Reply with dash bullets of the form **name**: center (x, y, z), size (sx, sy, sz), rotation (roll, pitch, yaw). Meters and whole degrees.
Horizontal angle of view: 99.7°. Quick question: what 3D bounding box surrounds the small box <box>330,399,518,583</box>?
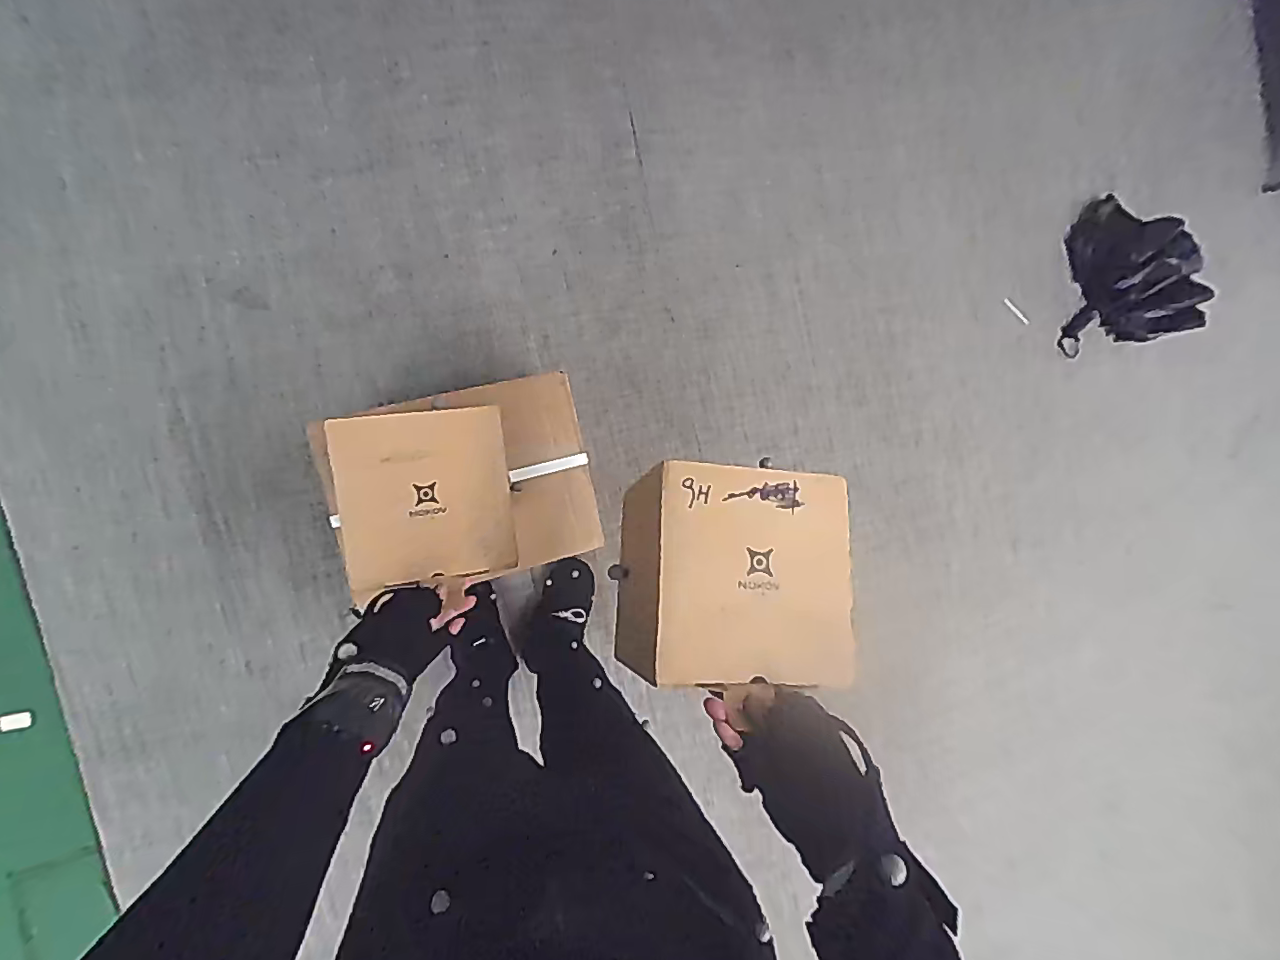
- **small box**: center (-0.235, 0.001, 0.627), size (0.168, 0.176, 0.179), rotation (-8, 98, -15)

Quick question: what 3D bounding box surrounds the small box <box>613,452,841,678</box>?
- **small box**: center (0.071, 0.080, 0.515), size (0.168, 0.176, 0.179), rotation (5, 80, -13)
